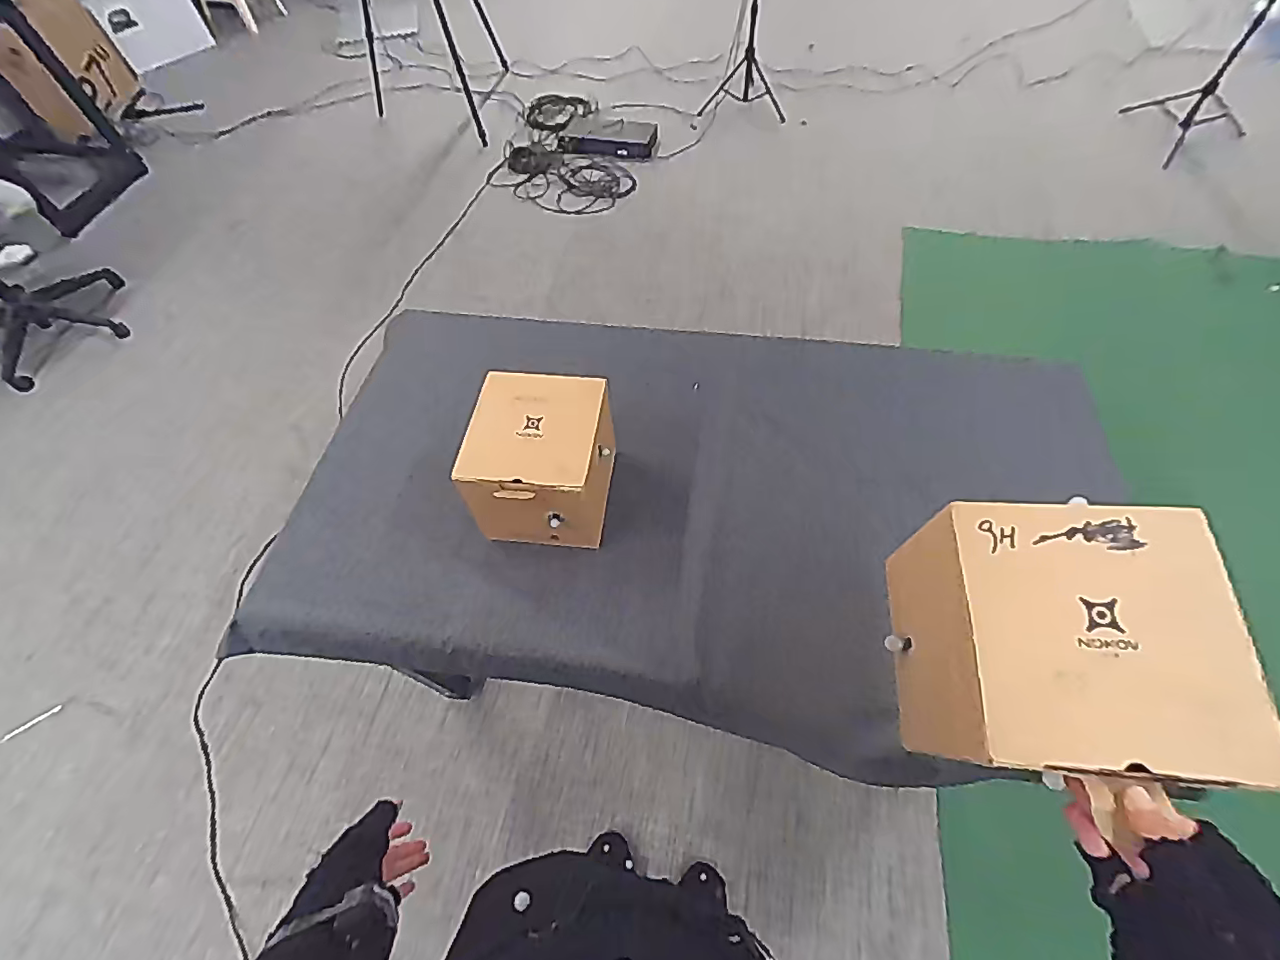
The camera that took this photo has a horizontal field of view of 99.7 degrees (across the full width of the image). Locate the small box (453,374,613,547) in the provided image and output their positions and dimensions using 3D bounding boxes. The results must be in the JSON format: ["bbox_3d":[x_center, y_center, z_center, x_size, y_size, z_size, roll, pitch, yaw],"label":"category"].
[{"bbox_3d":[-0.132,-0.022,0.749,0.168,0.176,0.179,5,57,5],"label":"small box"}]
